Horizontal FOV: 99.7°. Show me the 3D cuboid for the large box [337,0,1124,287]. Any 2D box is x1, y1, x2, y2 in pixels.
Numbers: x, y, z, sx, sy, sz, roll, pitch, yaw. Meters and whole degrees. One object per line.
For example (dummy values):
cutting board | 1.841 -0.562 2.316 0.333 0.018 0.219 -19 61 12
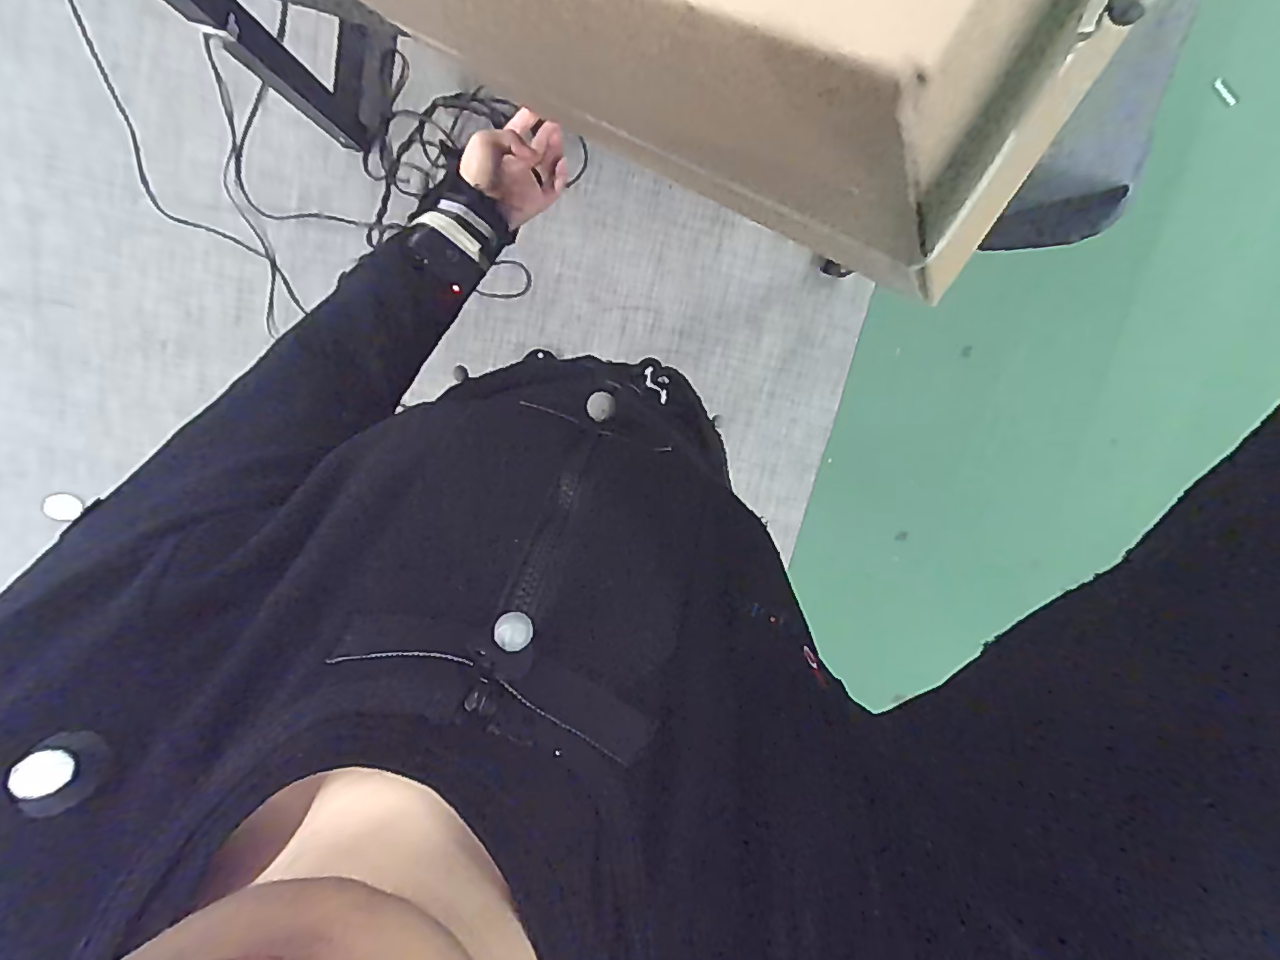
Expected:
large box | 0.046 -0.333 0.259 0.408 0.320 0.320 34 112 19
